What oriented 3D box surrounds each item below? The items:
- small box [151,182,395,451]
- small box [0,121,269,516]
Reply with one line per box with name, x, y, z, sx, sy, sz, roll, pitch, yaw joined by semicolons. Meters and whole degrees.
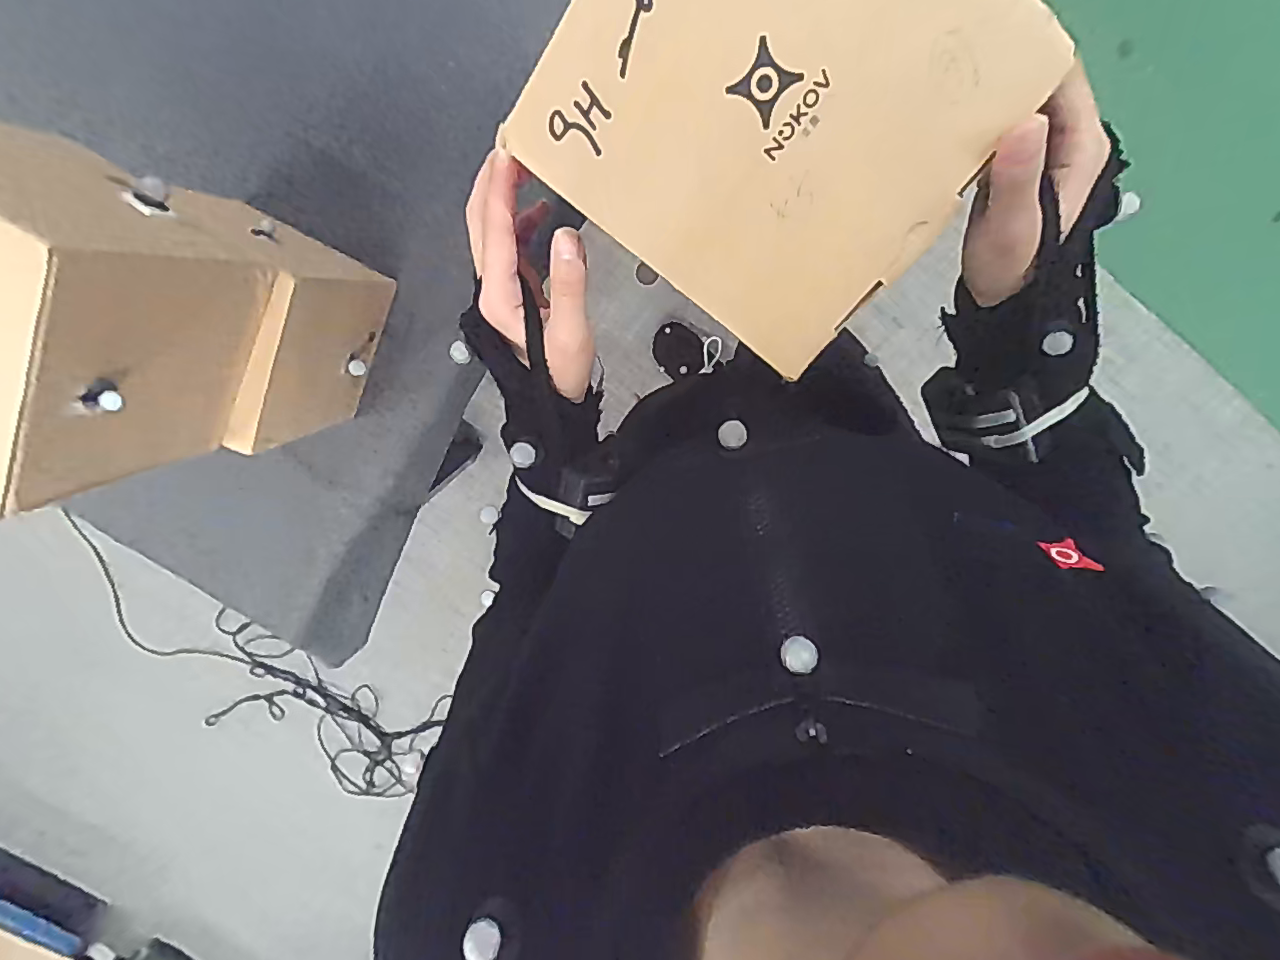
small box;-0.370;-0.153;0.508;0.179;0.176;0.168;26;109;-6
small box;-0.389;-0.112;0.351;0.168;0.176;0.179;29;107;-8
